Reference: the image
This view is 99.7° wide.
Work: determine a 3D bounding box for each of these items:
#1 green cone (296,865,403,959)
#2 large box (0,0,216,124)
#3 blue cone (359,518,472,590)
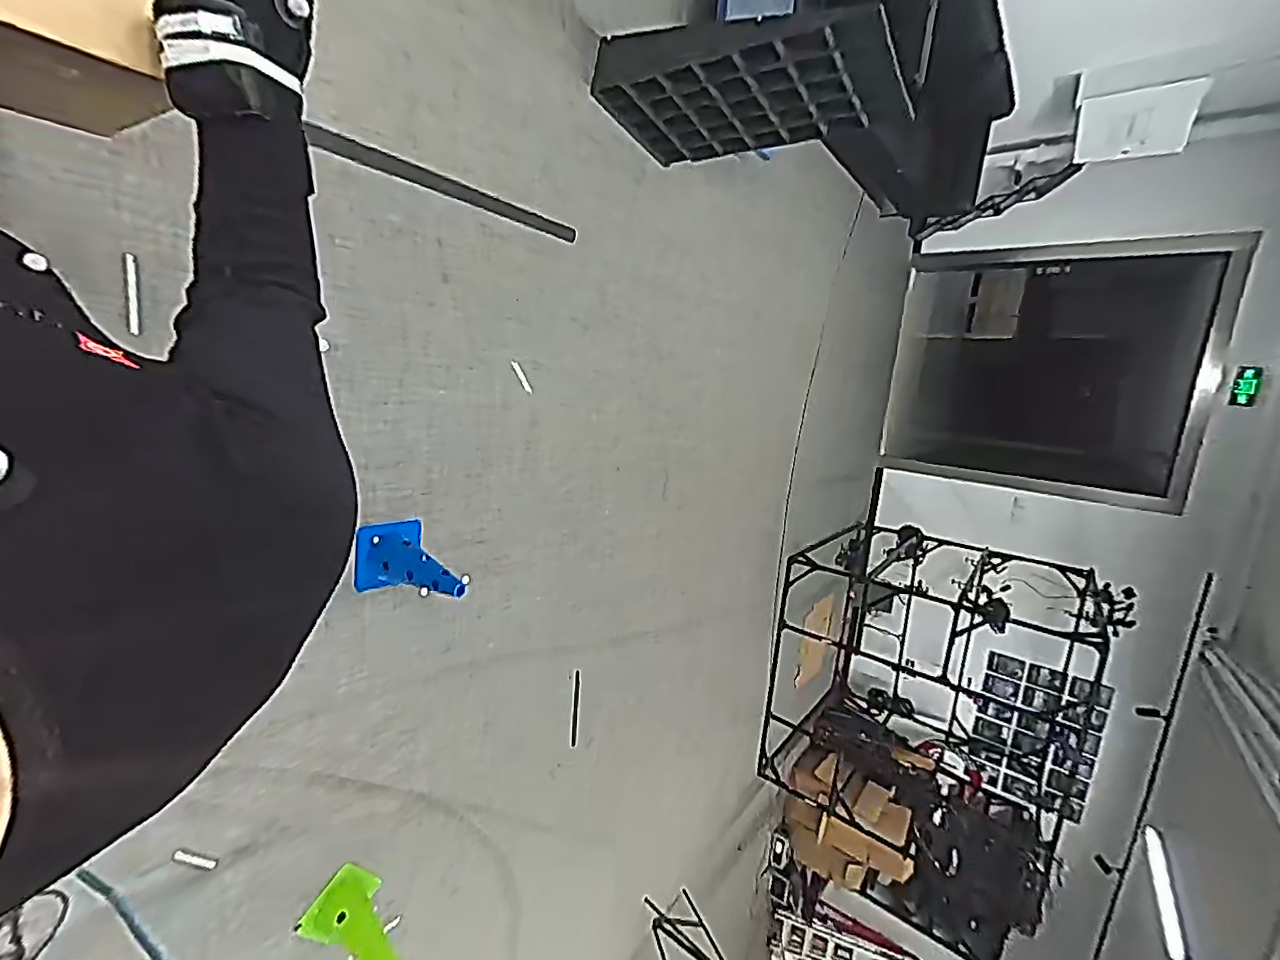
[{"bbox_3d":[-0.800,1.359,1.595,0.202,0.368,0.200,-53,138,-33],"label":"green cone"},{"bbox_3d":[-0.525,-0.444,0.278,0.408,0.320,0.320,-11,115,-53],"label":"large box"},{"bbox_3d":[-0.616,0.244,1.530,0.192,0.380,0.193,-3,103,-55],"label":"blue cone"}]
